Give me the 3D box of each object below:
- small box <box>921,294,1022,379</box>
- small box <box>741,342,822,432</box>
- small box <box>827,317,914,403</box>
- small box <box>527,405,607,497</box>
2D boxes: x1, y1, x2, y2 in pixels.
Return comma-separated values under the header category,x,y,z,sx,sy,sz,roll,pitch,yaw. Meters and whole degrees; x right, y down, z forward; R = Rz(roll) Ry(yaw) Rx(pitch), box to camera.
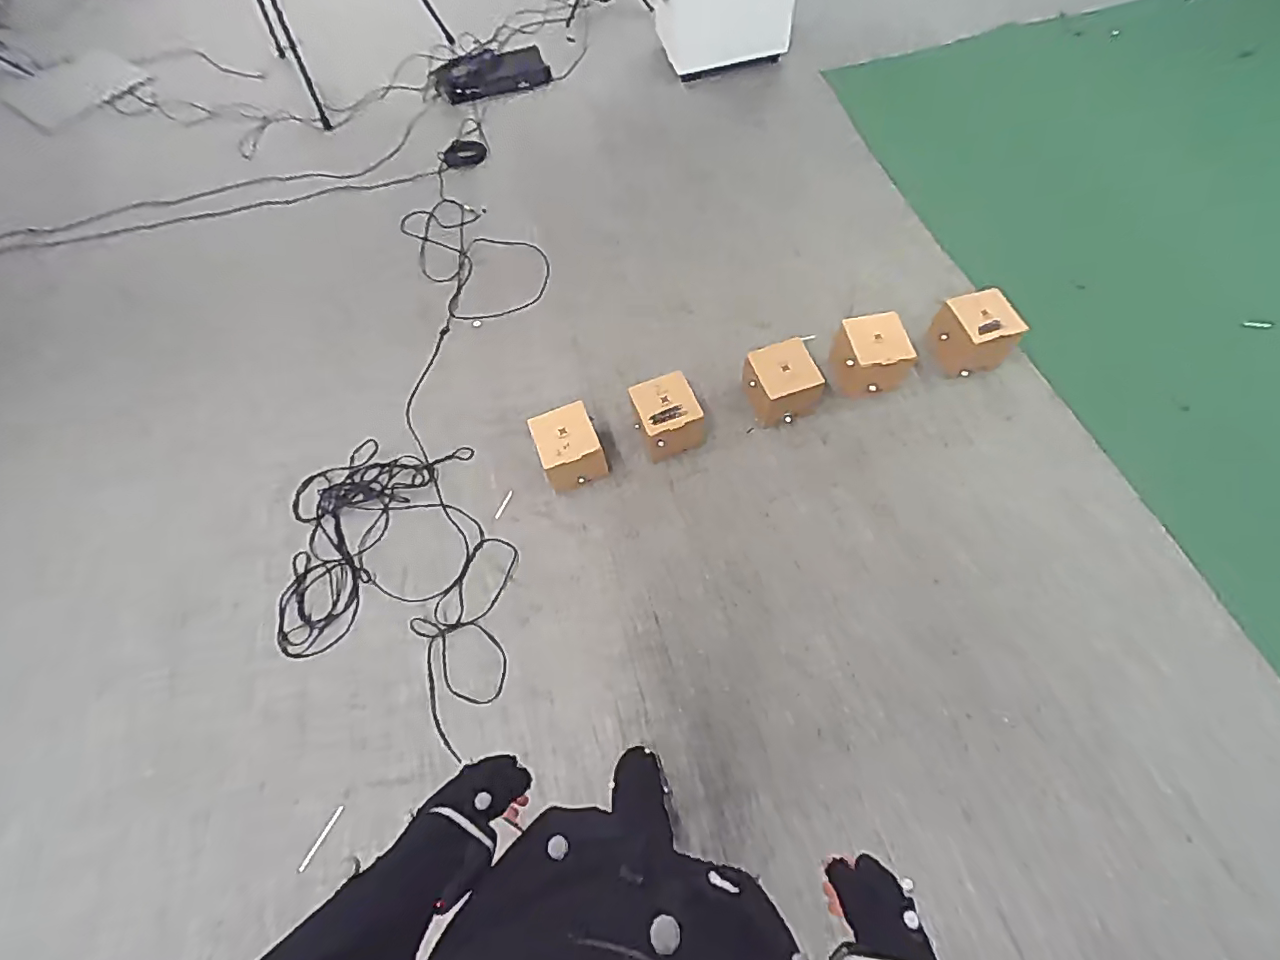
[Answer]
category,x,y,z,sx,sy,sz,roll,pitch,yaw
small box,0.993,-0.424,1.637,0.168,0.176,0.179,-14,63,-3
small box,0.411,-0.271,1.602,0.168,0.176,0.179,-19,65,-3
small box,0.682,-0.356,1.626,0.168,0.176,0.179,-10,64,-1
small box,-0.206,-0.080,1.551,0.168,0.176,0.179,-21,64,-5
